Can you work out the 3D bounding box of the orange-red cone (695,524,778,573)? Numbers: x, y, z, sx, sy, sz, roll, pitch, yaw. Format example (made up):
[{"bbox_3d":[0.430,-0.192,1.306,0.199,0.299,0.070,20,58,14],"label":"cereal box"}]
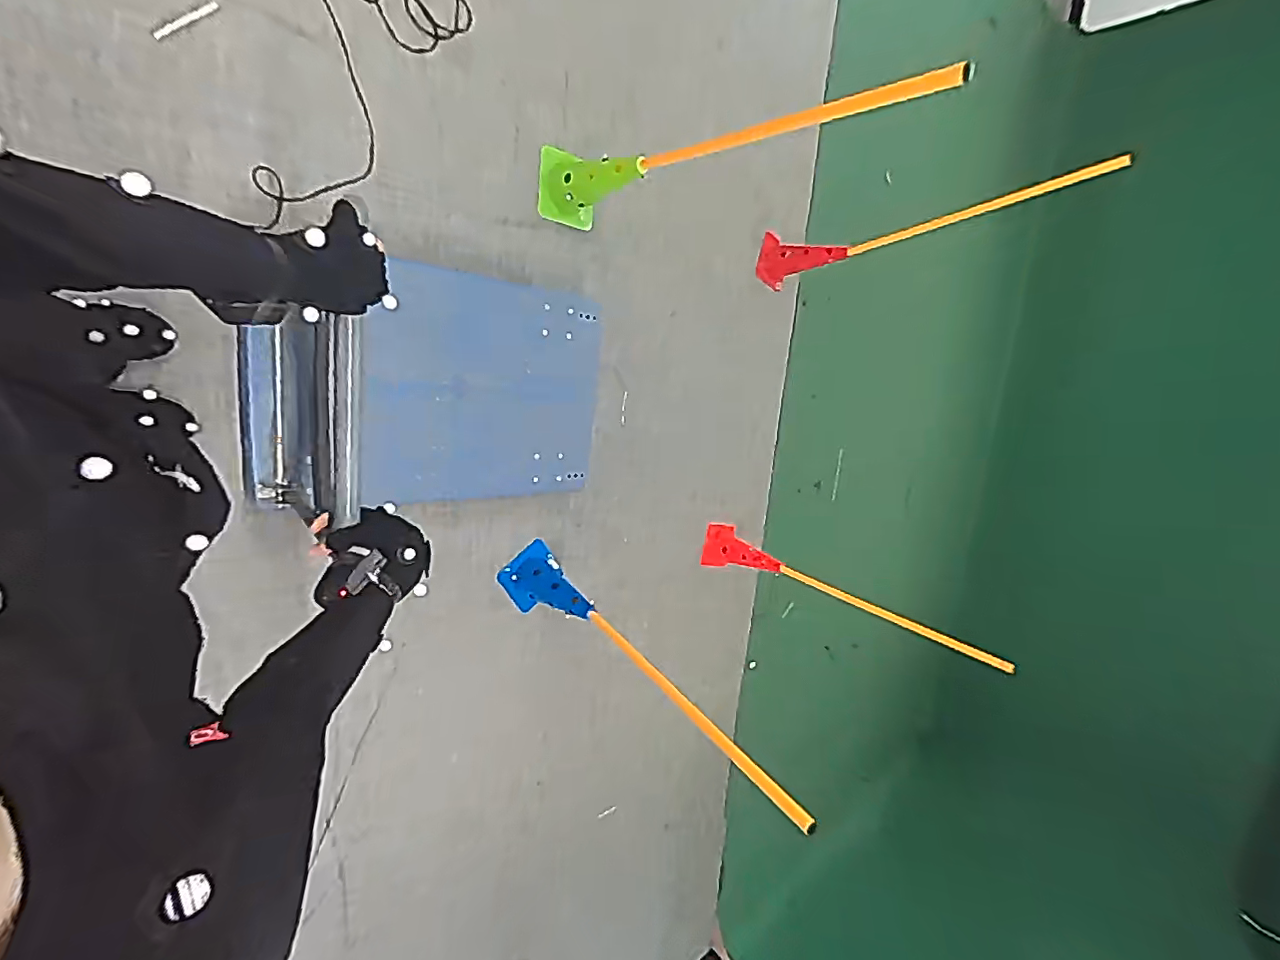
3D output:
[{"bbox_3d":[0.447,0.340,2.378,0.199,0.360,0.198,13,92,-43],"label":"orange-red cone"}]
